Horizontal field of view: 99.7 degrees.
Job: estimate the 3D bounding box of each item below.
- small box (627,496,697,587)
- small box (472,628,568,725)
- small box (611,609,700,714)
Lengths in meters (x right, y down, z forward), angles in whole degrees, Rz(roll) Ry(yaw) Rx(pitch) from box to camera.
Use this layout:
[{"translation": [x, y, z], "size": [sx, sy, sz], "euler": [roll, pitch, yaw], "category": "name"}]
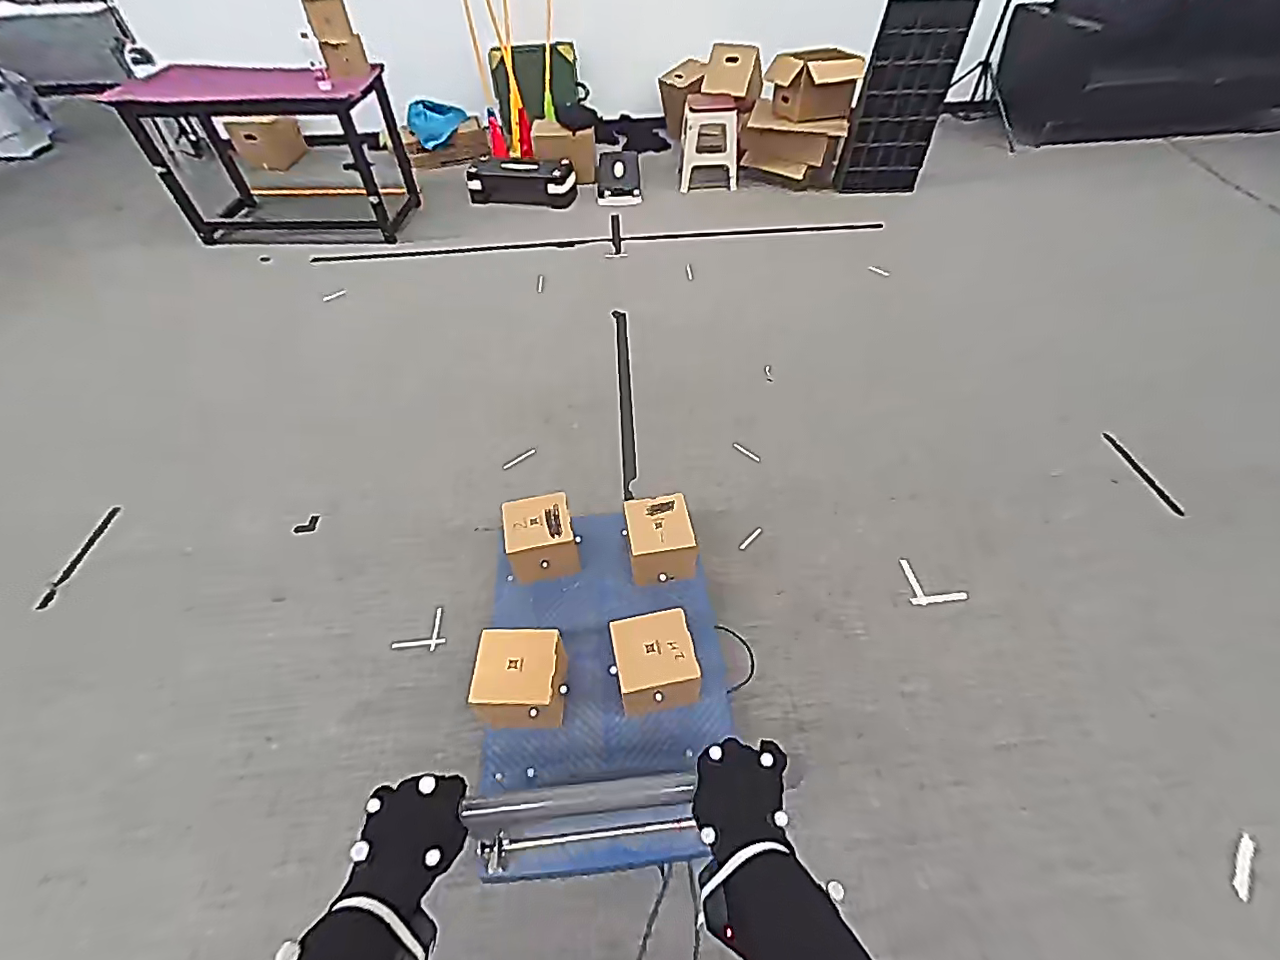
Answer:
[{"translation": [0.056, 0.169, 1.482], "size": [0.168, 0.176, 0.179], "euler": [-7, 51, -4], "category": "small box"}, {"translation": [-0.268, 0.457, 1.248], "size": [0.179, 0.176, 0.168], "euler": [0, 49, 0], "category": "small box"}, {"translation": [0.035, 0.428, 1.261], "size": [0.179, 0.176, 0.168], "euler": [-9, 50, -6], "category": "small box"}]
